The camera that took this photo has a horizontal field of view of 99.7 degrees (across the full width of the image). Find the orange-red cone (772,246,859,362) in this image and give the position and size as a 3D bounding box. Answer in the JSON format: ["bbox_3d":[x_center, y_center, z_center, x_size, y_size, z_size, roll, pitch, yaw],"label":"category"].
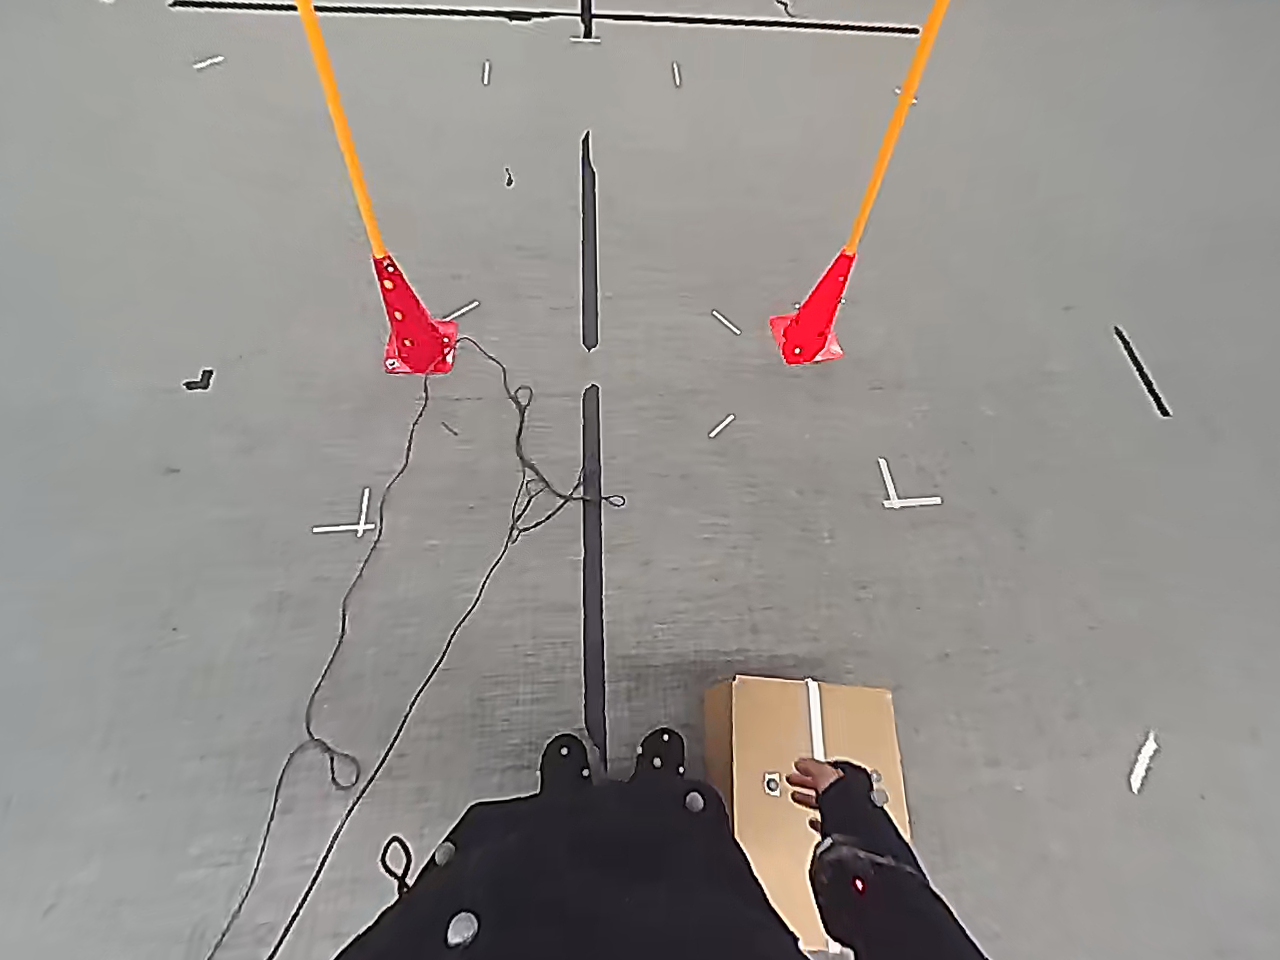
[{"bbox_3d":[0.552,-0.539,1.595,0.199,0.360,0.198,-9,67,-10],"label":"orange-red cone"}]
